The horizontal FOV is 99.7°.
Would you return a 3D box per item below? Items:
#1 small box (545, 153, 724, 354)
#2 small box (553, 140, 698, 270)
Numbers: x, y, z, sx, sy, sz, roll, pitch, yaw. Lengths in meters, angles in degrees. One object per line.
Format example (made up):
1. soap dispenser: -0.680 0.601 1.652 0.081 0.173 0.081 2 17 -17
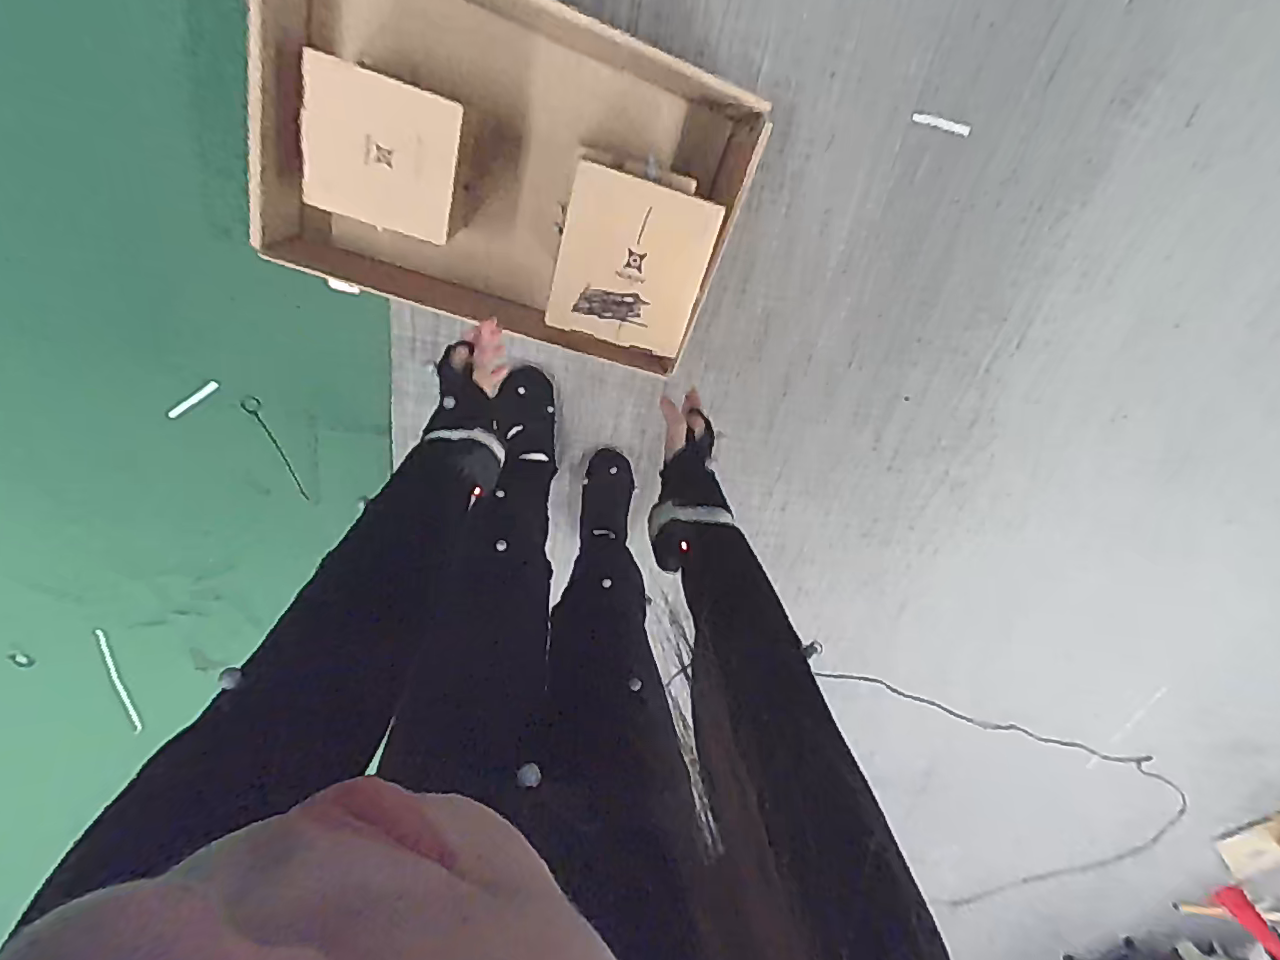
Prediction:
1. small box: -0.015 -0.284 0.673 0.168 0.176 0.179 12 119 -13
2. small box: -0.028 -0.383 0.804 0.168 0.176 0.179 11 121 -12
